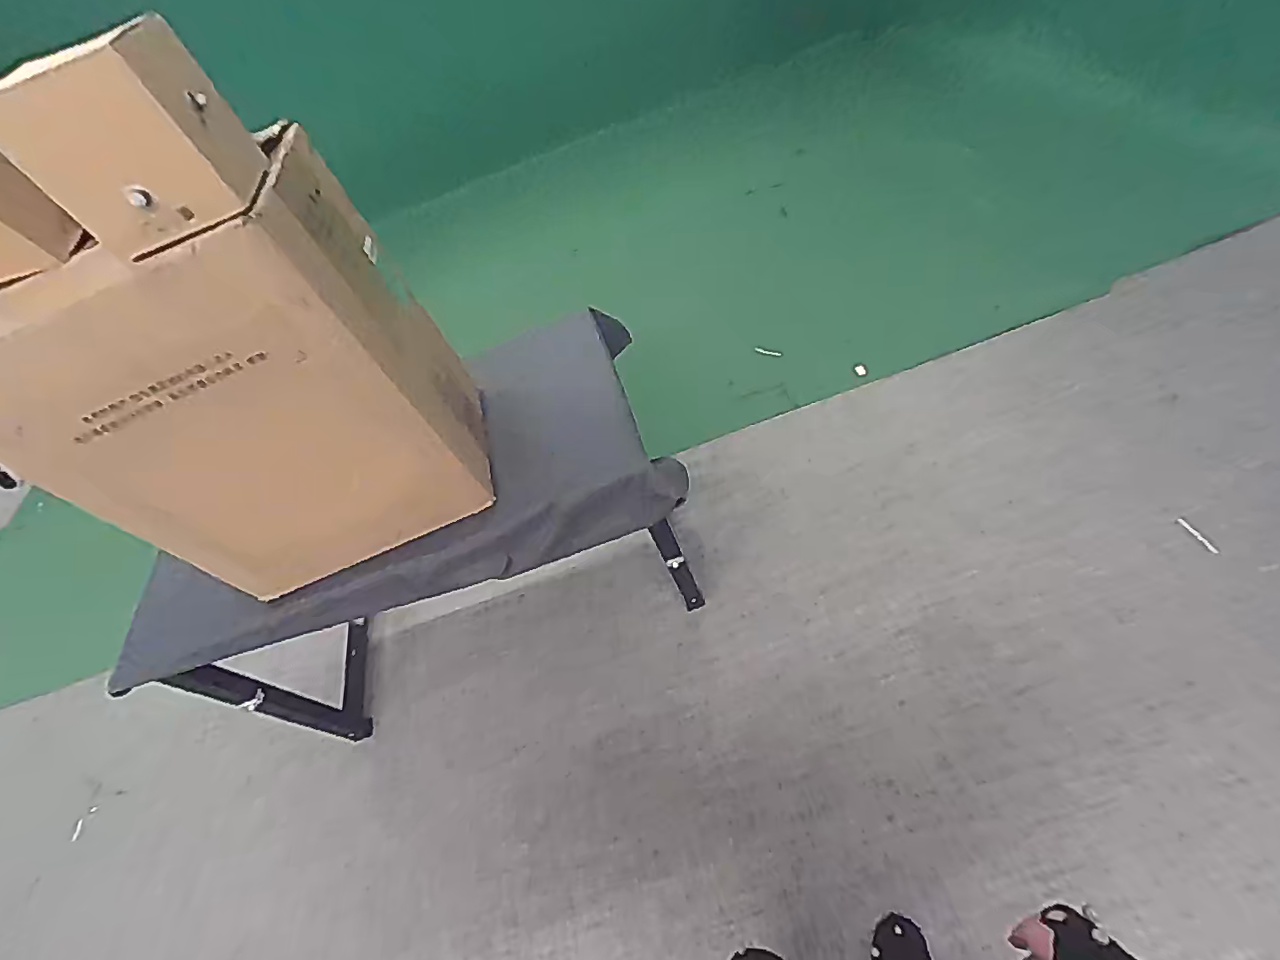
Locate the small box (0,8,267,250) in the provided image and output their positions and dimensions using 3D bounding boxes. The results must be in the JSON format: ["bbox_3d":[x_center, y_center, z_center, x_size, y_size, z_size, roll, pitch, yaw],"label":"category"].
[{"bbox_3d":[-0.579,-0.404,0.631,0.168,0.176,0.179,-22,52,1],"label":"small box"}]

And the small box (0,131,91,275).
[{"bbox_3d":[-0.851,-0.380,0.683,0.179,0.176,0.168,-11,63,9],"label":"small box"}]
